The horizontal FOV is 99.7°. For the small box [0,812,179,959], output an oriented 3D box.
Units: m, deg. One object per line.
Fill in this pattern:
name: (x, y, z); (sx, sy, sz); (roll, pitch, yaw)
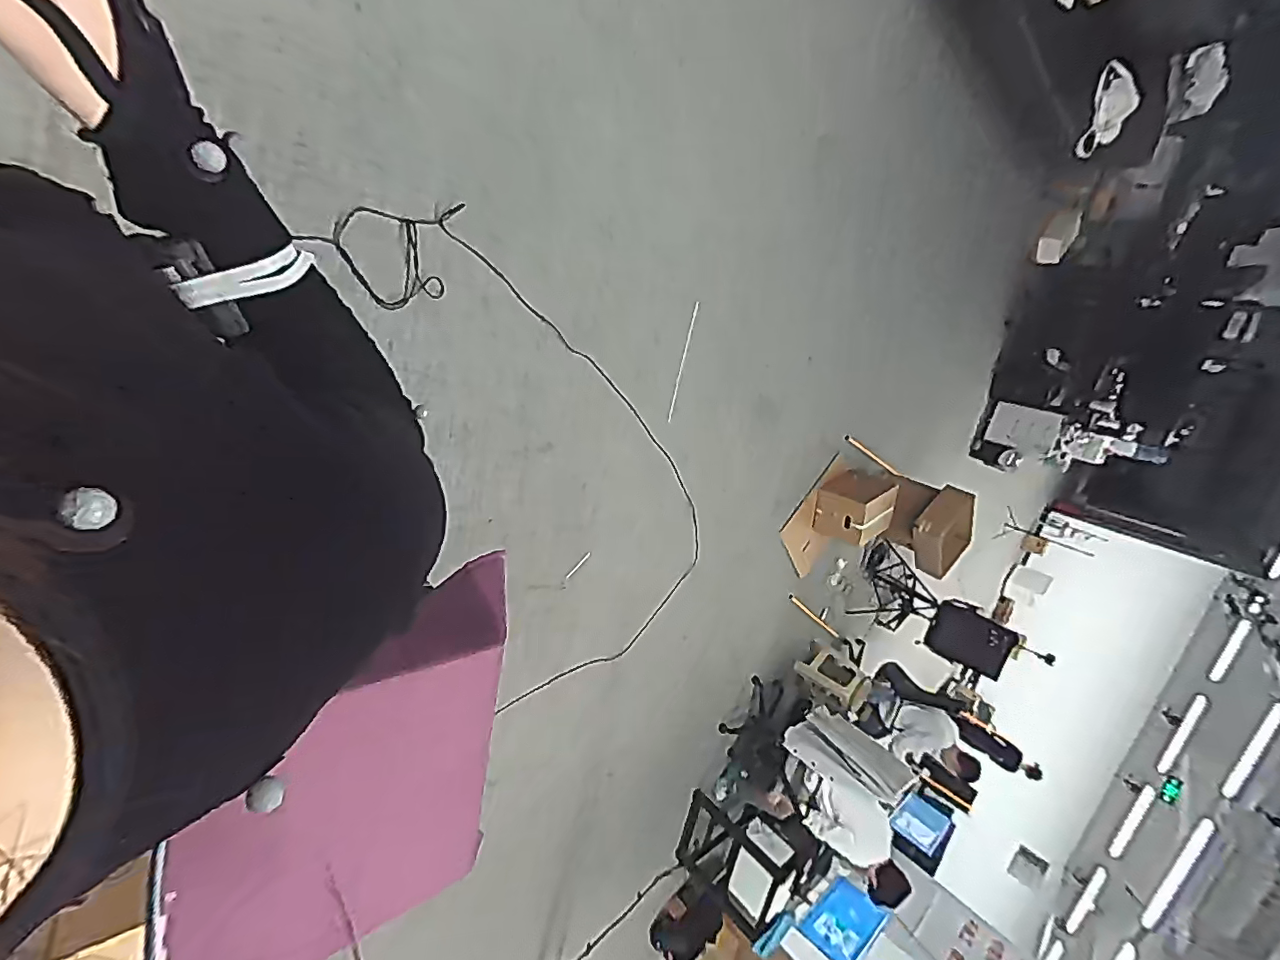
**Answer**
small box: (-0.666, 0.536, 0.630); (0.179, 0.176, 0.168); (0, 109, -46)
